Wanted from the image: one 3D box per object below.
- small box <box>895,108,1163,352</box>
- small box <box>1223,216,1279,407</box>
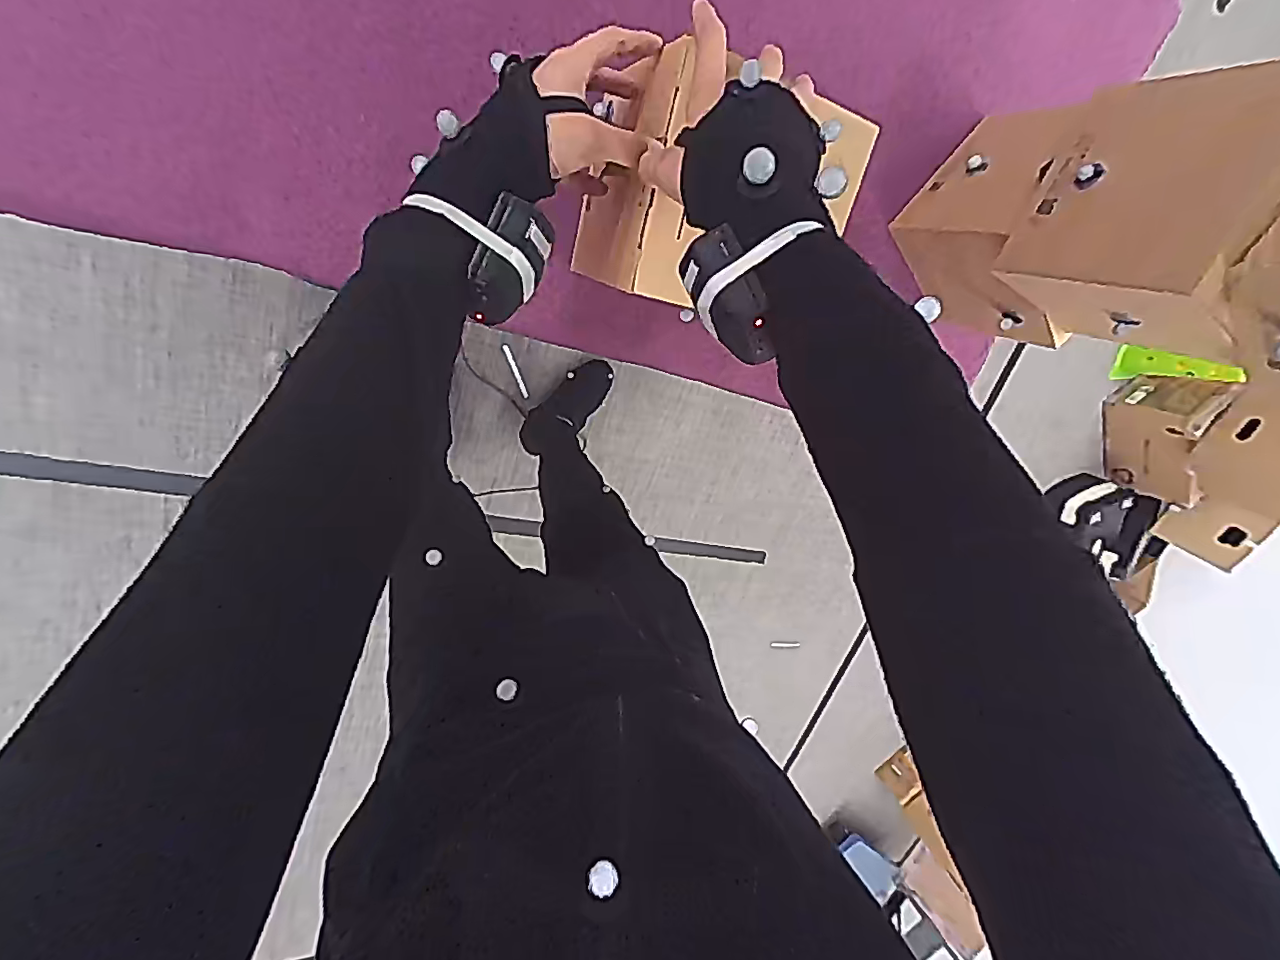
[{"bbox_3d":[0.438,-0.282,0.622,0.168,0.176,0.179,-48,124,5],"label":"small box"},{"bbox_3d":[0.552,-0.137,0.351,0.168,0.176,0.179,34,100,-31],"label":"small box"}]
